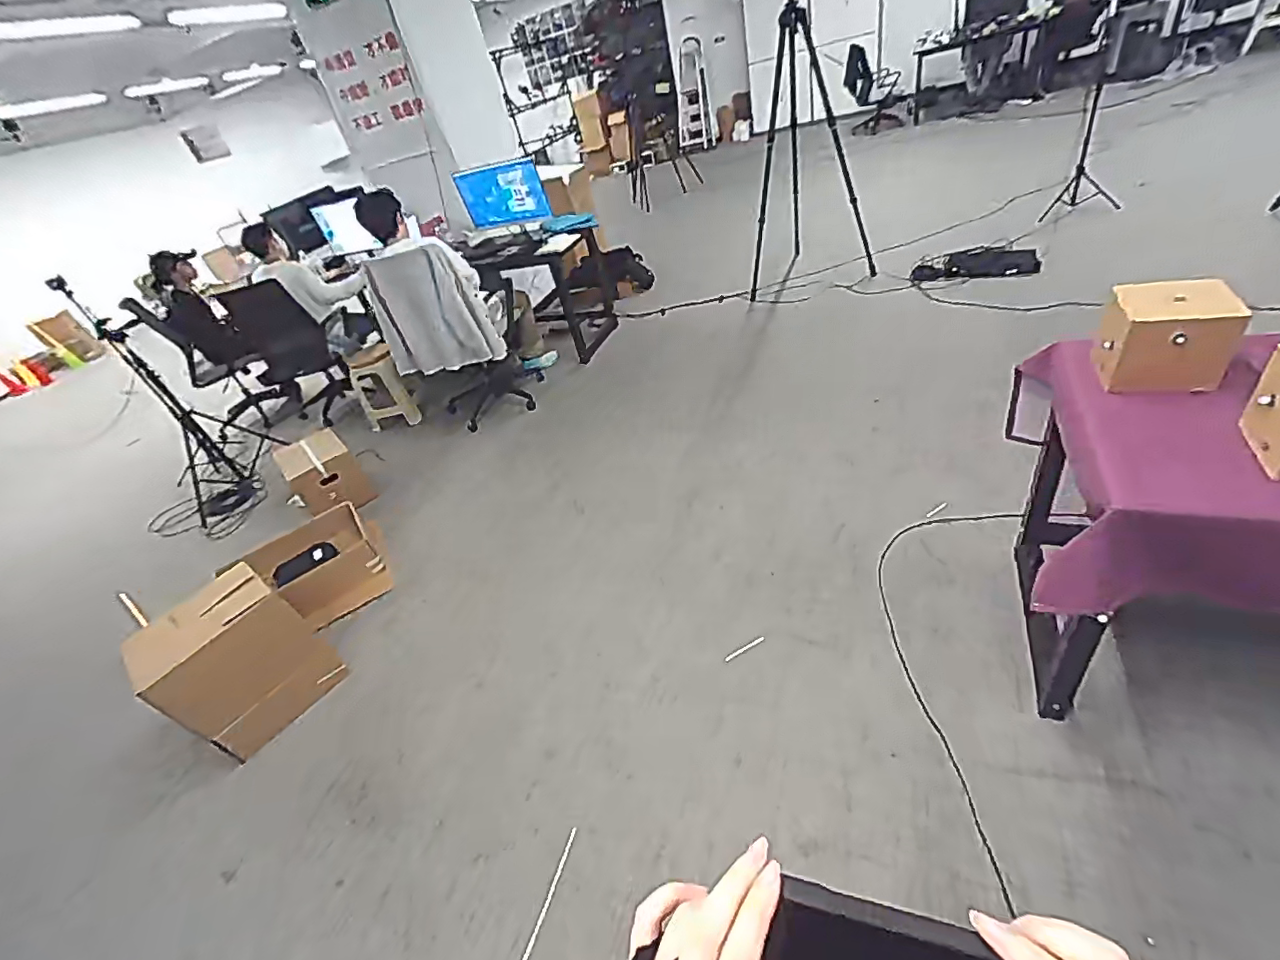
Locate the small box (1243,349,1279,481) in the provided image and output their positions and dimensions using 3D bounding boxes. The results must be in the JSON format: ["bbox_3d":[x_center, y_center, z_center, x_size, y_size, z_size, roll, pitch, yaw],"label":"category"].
[{"bbox_3d":[1.129,-0.099,0.863,0.179,0.176,0.168,6,42,26],"label":"small box"}]
